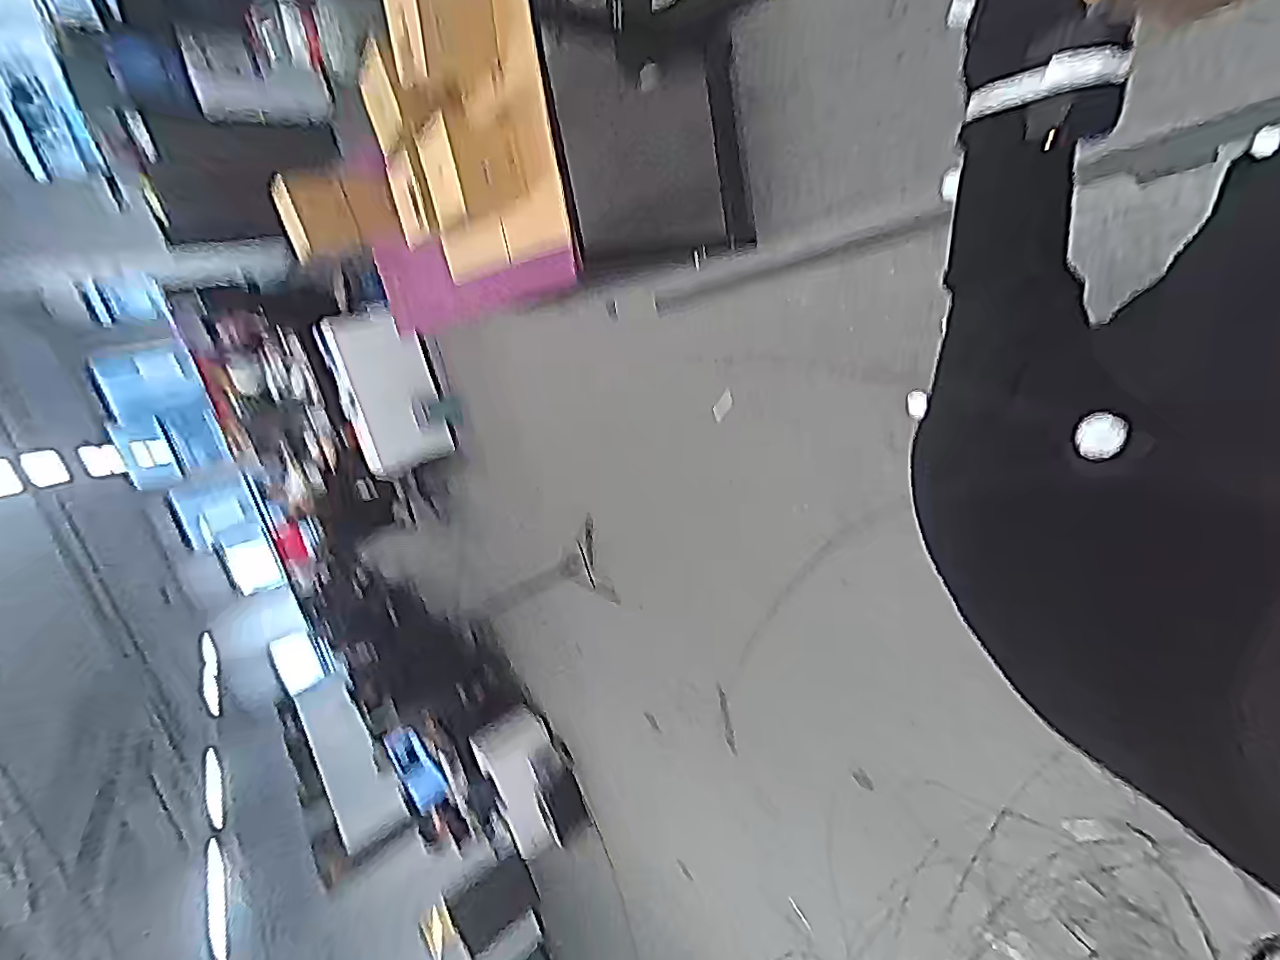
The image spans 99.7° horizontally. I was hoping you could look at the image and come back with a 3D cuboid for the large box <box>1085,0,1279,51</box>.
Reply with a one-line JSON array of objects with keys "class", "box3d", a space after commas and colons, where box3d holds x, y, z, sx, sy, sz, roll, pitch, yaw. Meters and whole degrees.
[{"class": "large box", "box3d": [0.493, -0.501, 0.262, 0.408, 0.320, 0.320, 4, 116, 51]}]
